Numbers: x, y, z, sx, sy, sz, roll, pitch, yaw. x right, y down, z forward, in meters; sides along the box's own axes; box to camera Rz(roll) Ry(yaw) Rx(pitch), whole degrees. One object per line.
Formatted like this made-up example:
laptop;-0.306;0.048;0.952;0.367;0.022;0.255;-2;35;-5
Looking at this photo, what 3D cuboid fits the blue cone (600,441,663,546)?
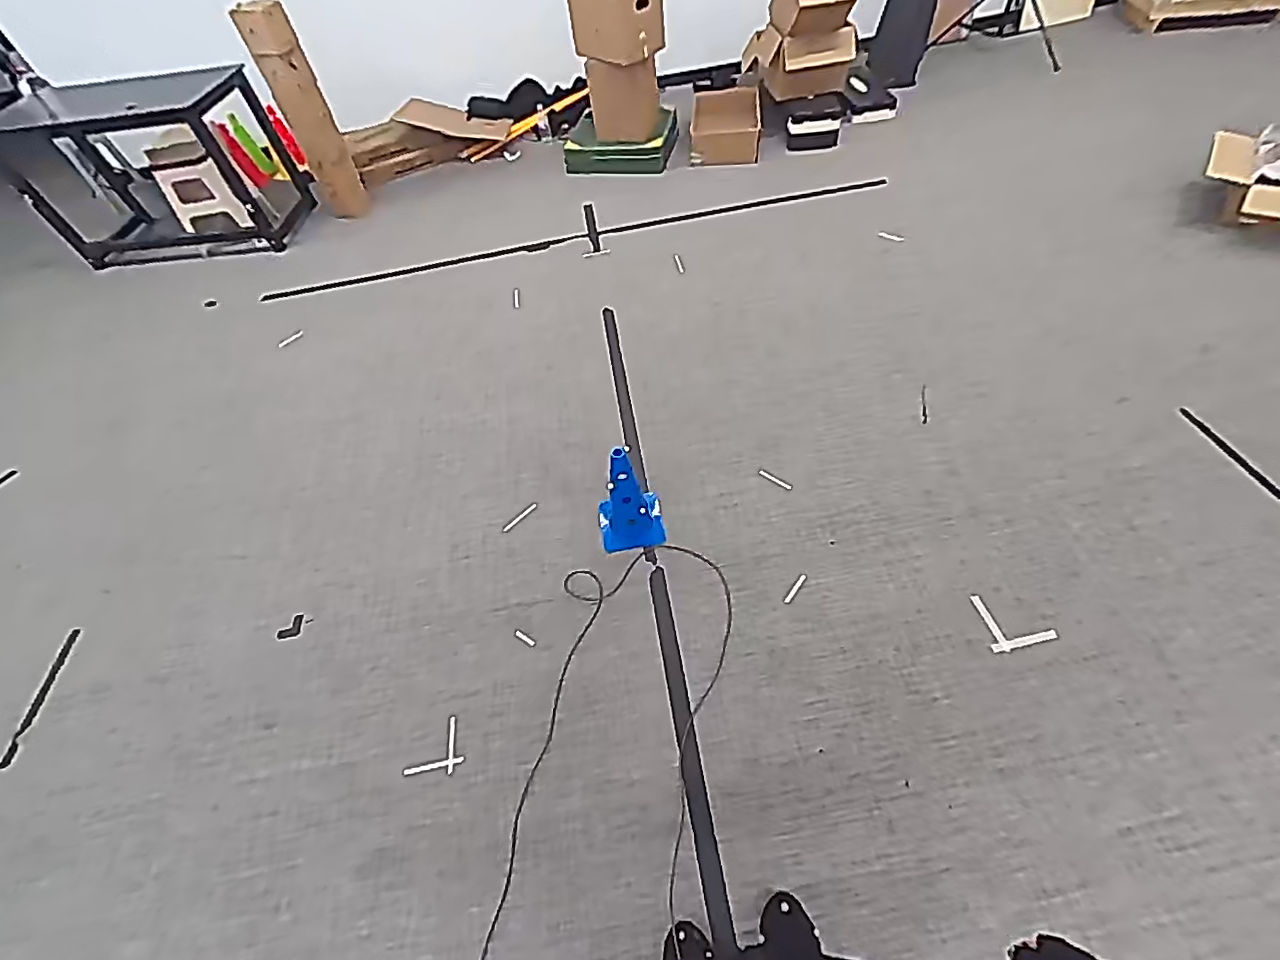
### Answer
blue cone;-0.045;0.024;1.599;0.193;0.380;0.192;-12;53;-1
